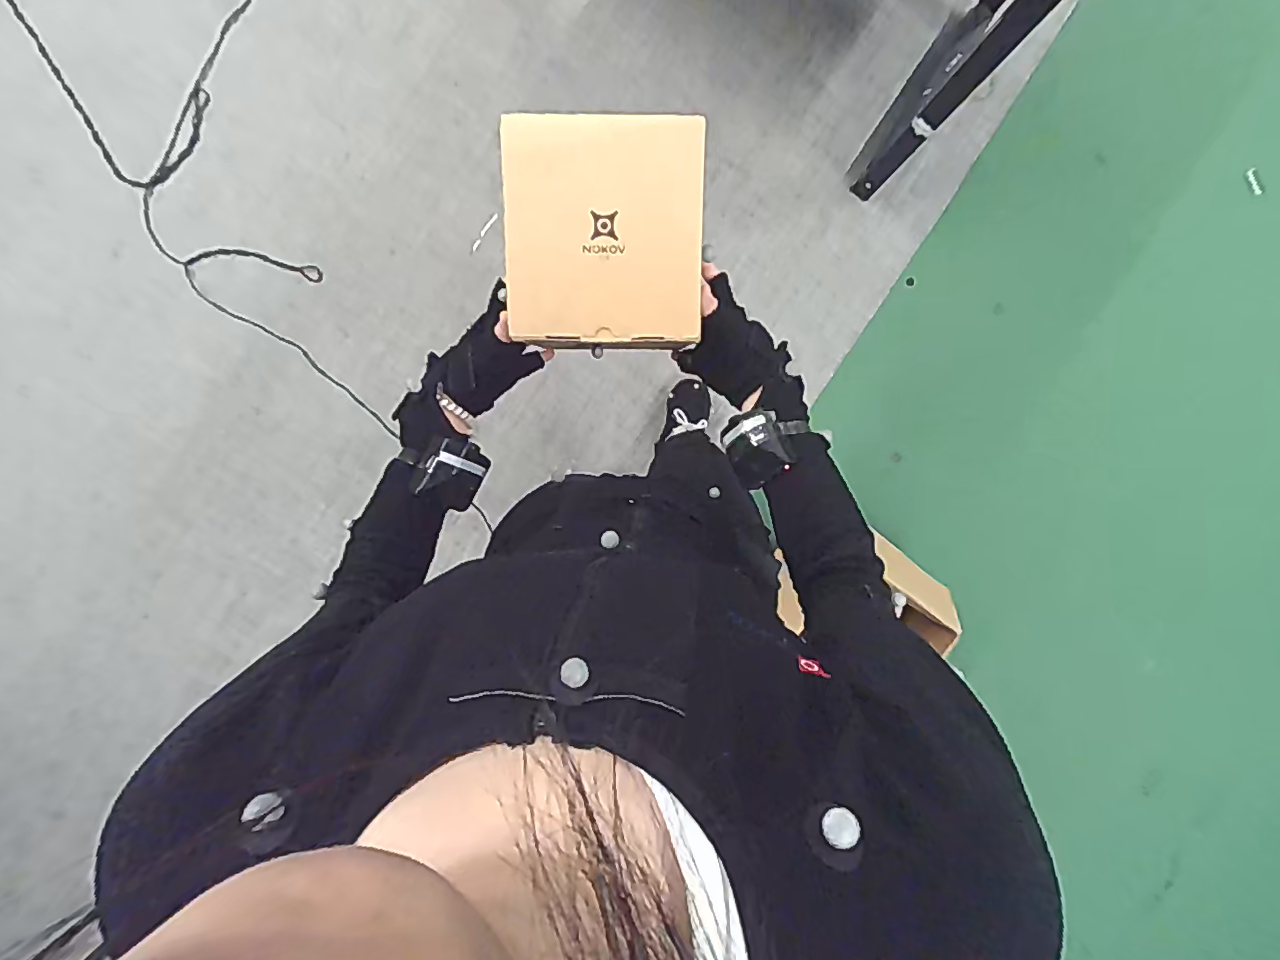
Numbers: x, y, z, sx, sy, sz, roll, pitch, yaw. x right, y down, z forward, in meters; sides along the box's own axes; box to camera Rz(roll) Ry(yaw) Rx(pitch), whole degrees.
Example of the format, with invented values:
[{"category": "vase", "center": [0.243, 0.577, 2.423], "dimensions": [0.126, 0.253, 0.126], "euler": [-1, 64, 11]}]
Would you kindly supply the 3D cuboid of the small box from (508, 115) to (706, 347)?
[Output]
[{"category": "small box", "center": [-0.032, -0.226, 0.536], "dimensions": [0.168, 0.176, 0.179], "euler": [0, 103, -2]}]
